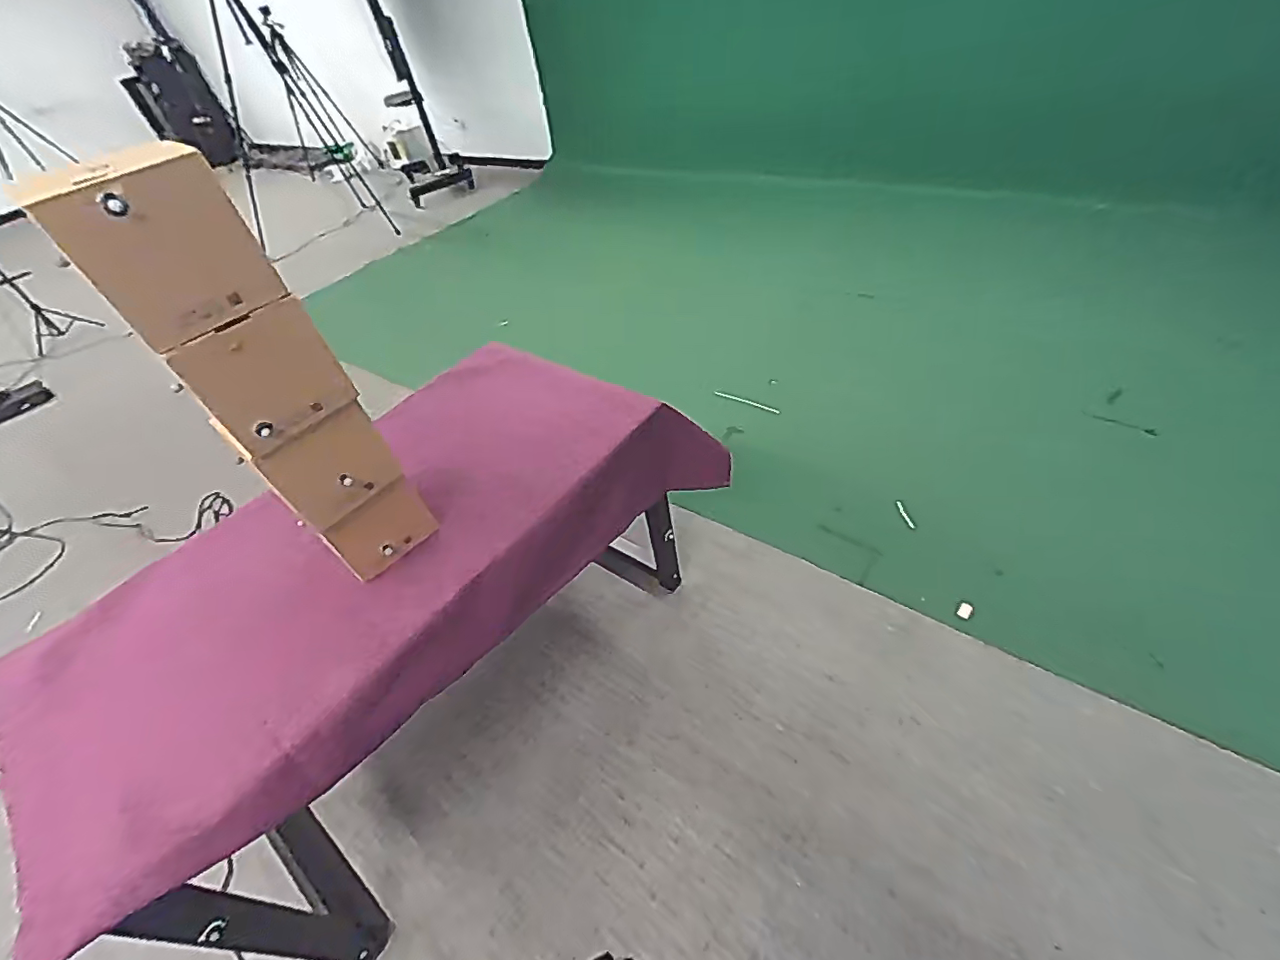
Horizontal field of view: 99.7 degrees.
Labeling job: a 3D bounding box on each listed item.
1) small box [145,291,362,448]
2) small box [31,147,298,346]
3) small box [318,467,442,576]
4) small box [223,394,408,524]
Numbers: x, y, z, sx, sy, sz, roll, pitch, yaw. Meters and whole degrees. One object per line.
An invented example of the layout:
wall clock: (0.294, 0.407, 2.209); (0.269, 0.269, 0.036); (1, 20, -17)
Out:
small box: (-0.539, -0.170, 0.773); (0.179, 0.176, 0.168); (27, 57, 34)
small box: (-0.568, -0.285, 0.660); (0.179, 0.176, 0.168); (29, 58, 34)
small box: (-0.510, 0.049, 1.016); (0.179, 0.176, 0.168); (29, 58, 33)
small box: (-0.525, -0.056, 0.891); (0.179, 0.176, 0.168); (27, 57, 32)
